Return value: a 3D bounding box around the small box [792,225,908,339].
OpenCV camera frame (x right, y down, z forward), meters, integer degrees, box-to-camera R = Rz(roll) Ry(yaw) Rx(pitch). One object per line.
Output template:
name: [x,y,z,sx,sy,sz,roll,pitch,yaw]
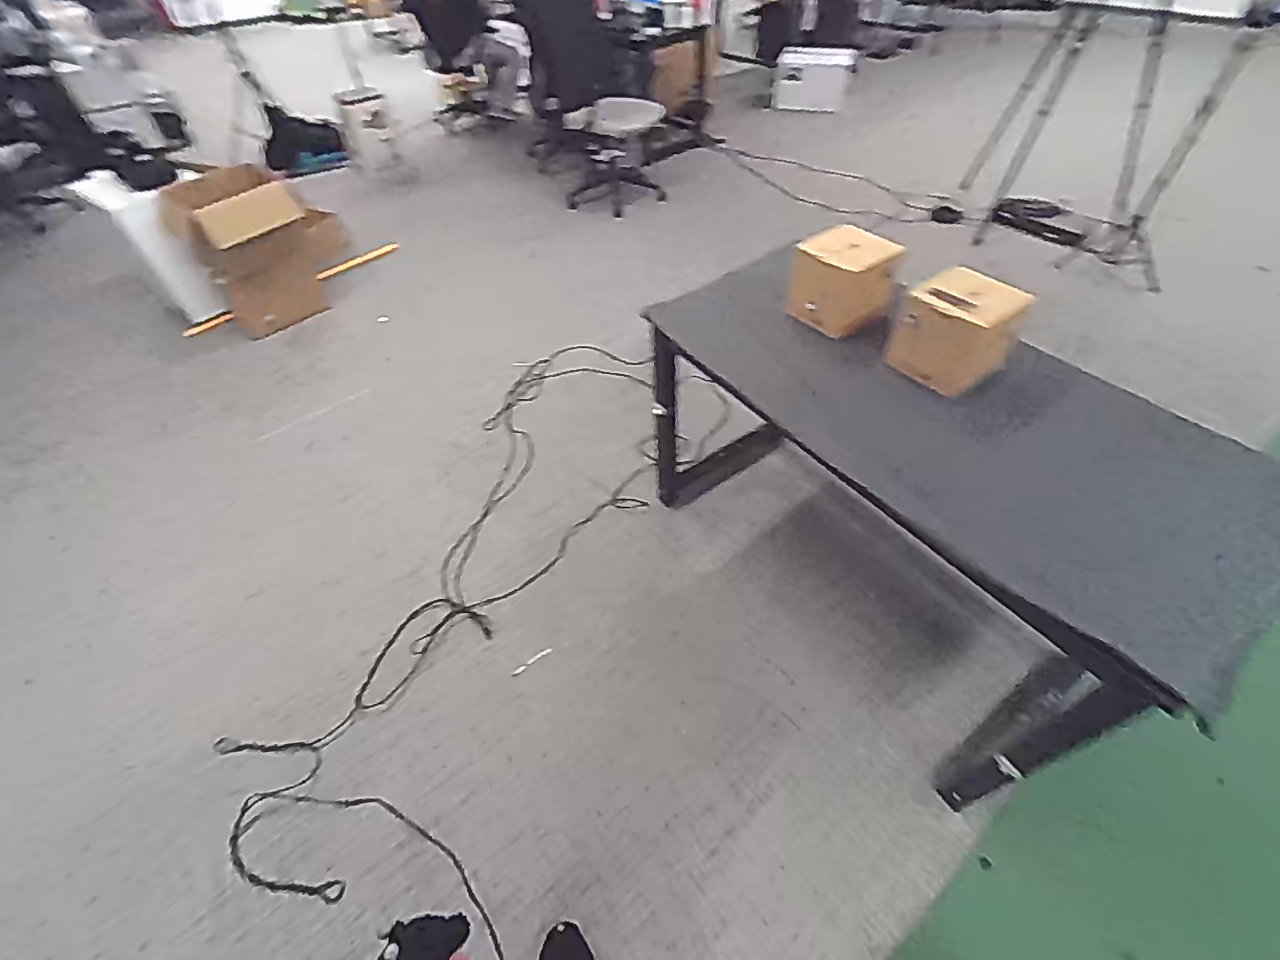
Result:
small box: [0.477,-0.461,1.259,0.179,0.176,0.168,-30,54,-21]
